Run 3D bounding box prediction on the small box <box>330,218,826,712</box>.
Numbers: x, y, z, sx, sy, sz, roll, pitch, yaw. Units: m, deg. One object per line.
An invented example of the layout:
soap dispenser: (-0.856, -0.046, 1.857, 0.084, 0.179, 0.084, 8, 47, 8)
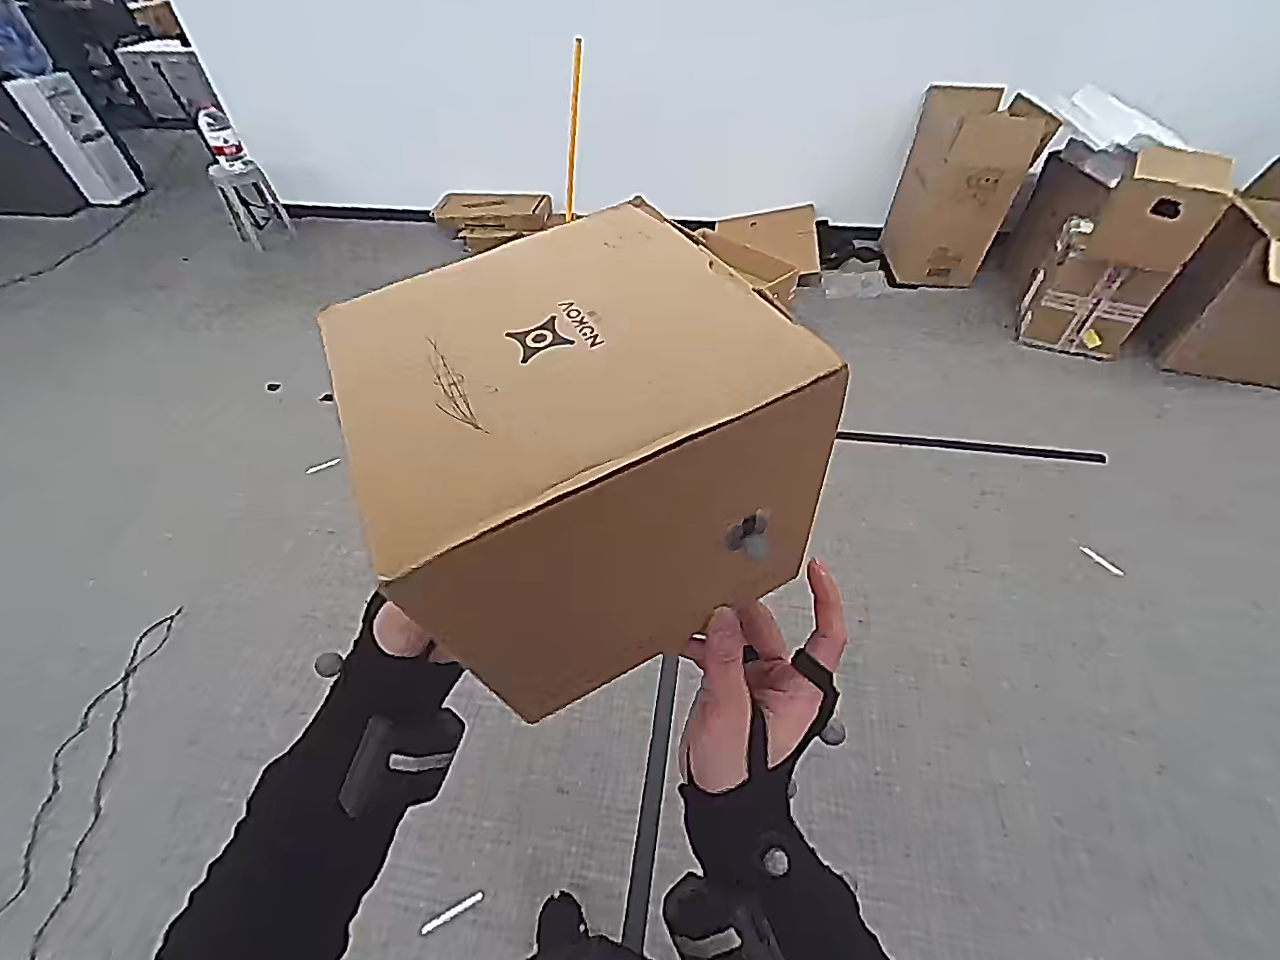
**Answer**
small box: (-0.029, -0.005, 0.300, 0.179, 0.176, 0.168, -28, 53, -12)
